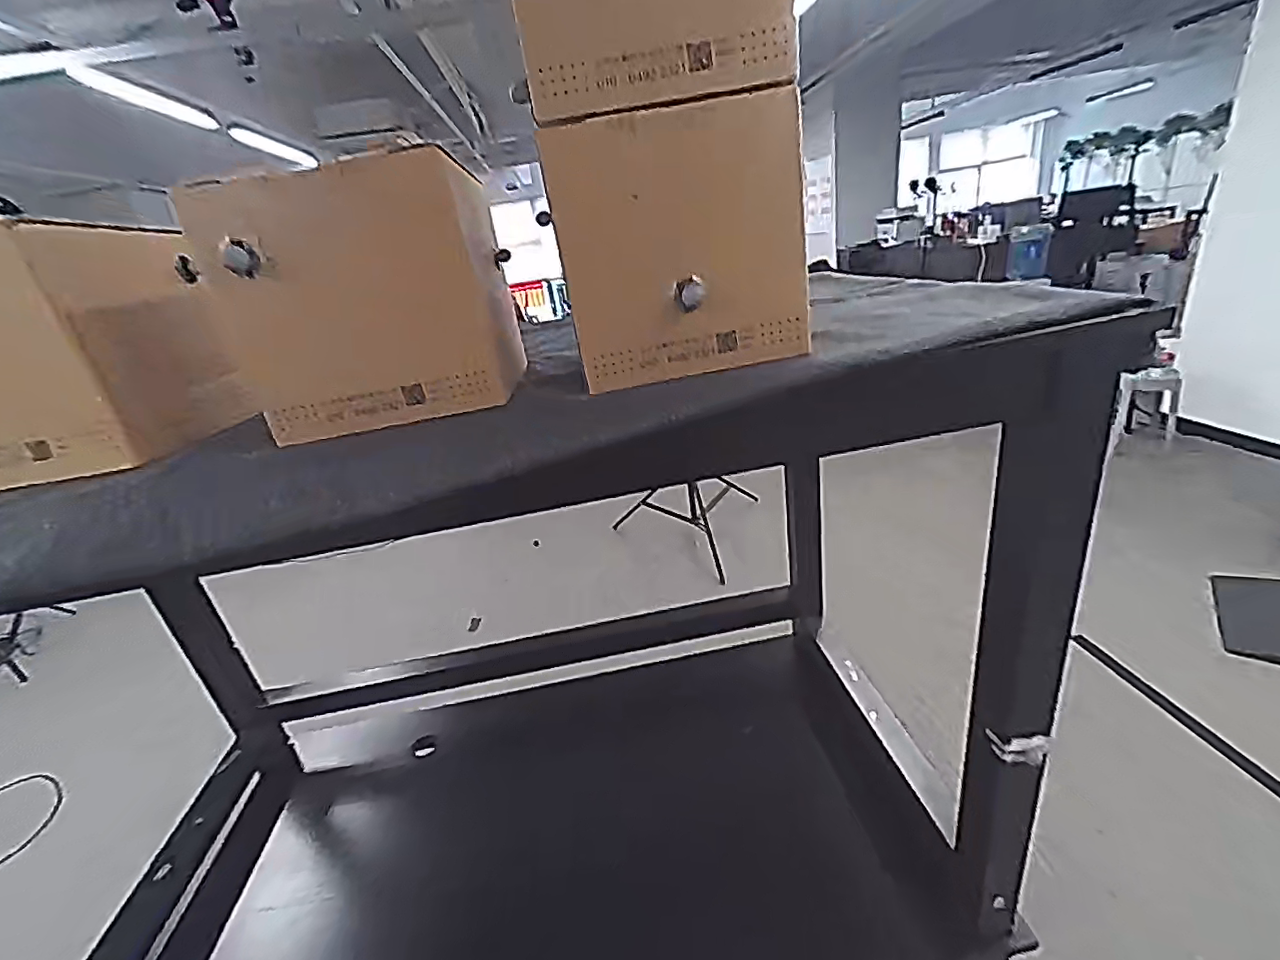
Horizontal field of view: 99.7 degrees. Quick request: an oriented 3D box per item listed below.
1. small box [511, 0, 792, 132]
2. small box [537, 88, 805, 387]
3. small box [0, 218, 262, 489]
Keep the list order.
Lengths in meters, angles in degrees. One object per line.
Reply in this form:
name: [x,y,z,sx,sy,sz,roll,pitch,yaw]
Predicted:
small box: [-0.002,-0.330,0.374,0.168,0.176,0.179,-10,23,-1]
small box: [0.022,-0.180,0.436,0.168,0.176,0.179,-11,23,-1]
small box: [-0.452,-0.098,0.432,0.168,0.176,0.179,-10,22,-1]
